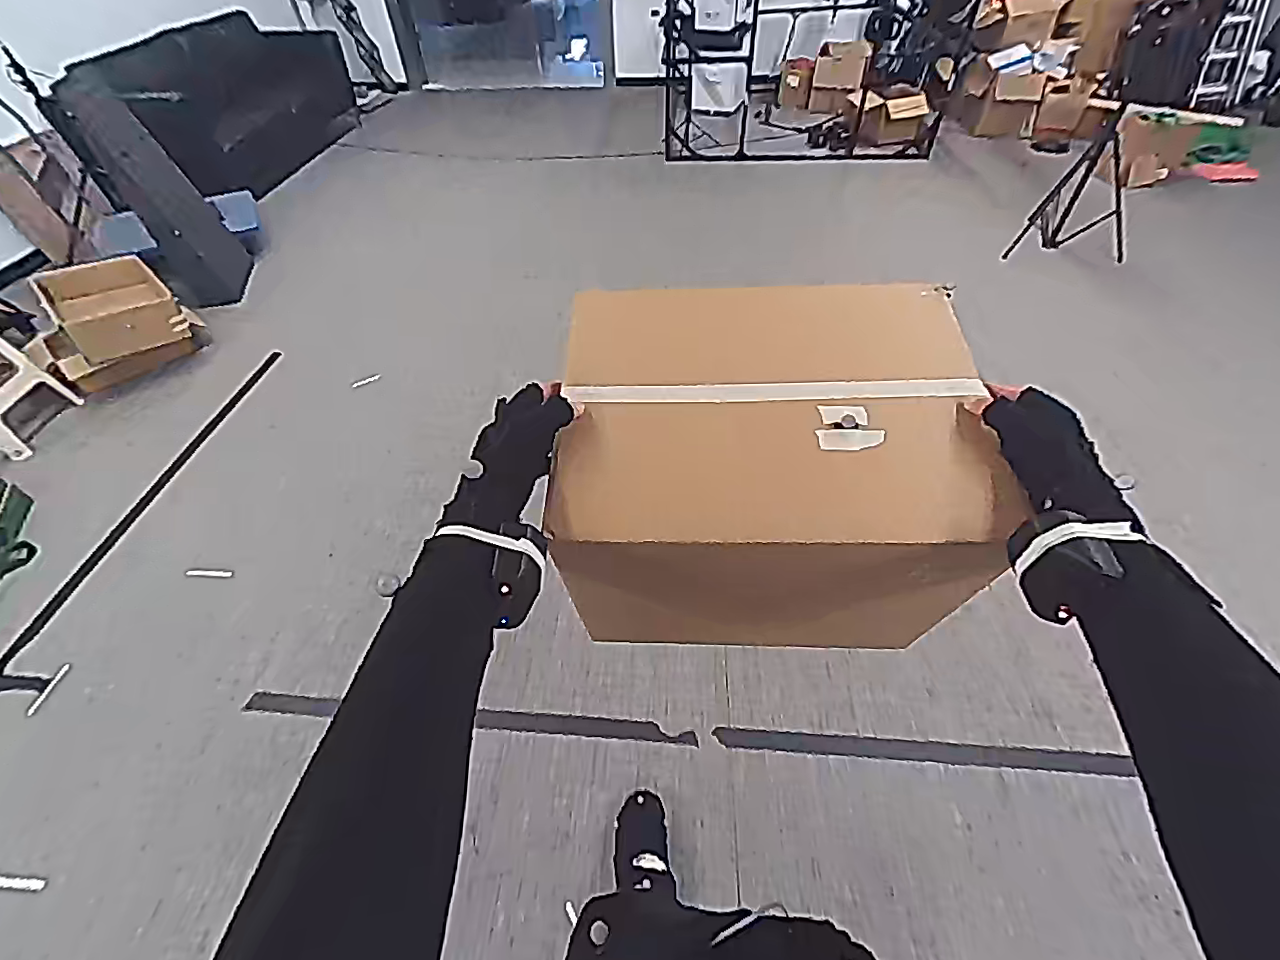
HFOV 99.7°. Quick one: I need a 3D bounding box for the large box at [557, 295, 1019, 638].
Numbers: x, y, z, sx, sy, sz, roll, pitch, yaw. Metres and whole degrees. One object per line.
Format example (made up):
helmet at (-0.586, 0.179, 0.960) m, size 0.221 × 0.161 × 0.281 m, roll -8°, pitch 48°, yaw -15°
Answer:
large box at (0.133, 0.000, 0.668) m, size 0.408 × 0.320 × 0.320 m, roll 0°, pitch 58°, yaw 4°
